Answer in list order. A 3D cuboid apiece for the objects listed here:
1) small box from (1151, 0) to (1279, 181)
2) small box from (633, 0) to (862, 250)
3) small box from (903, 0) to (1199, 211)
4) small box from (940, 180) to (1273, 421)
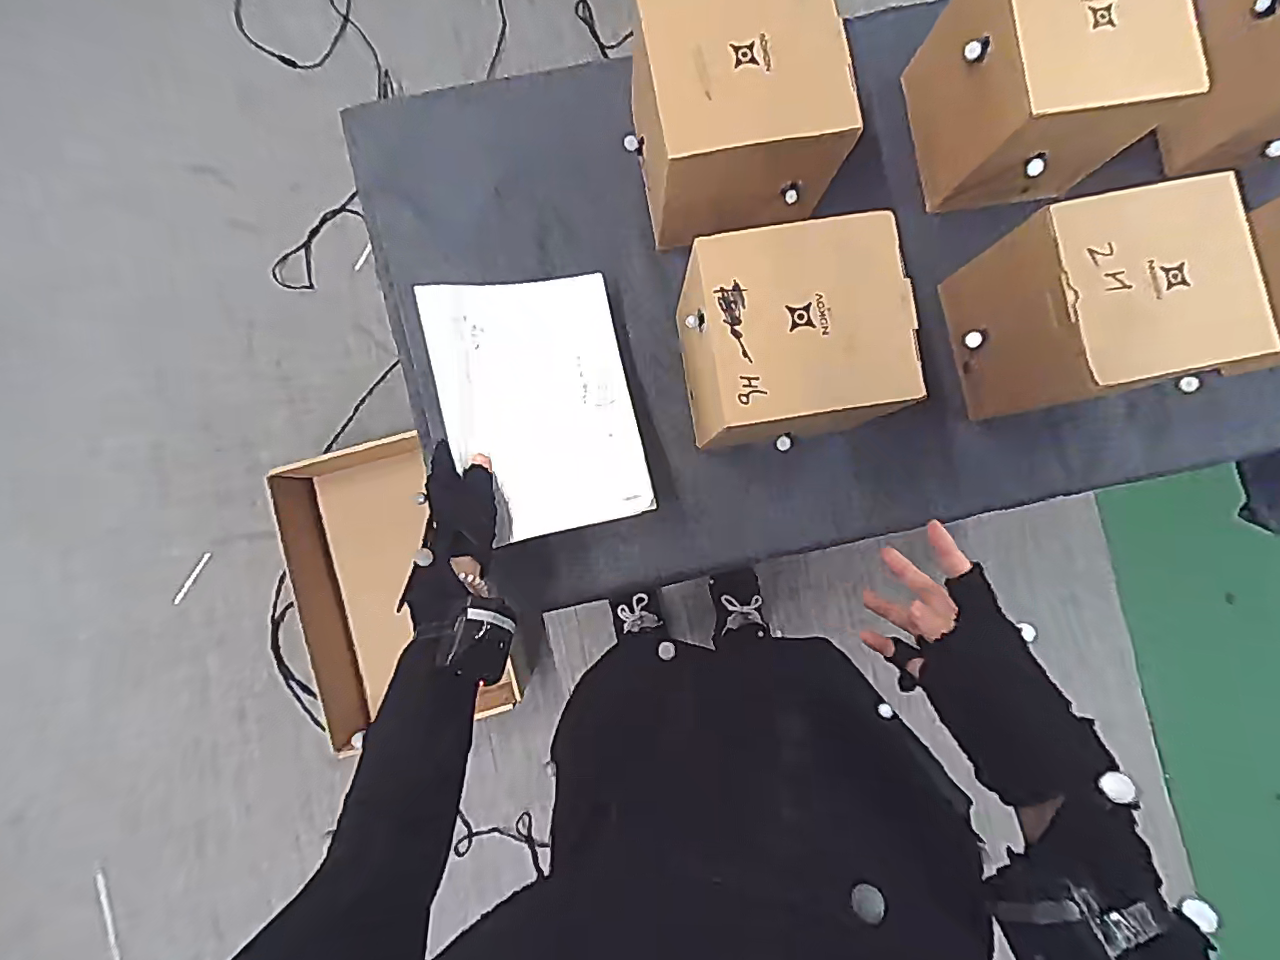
[{"bbox_3d":[0.691,-0.457,0.573,0.168,0.176,0.179,-9,87,-2],"label":"small box"},{"bbox_3d":[0.093,-0.360,0.551,0.179,0.176,0.168,-10,86,-3],"label":"small box"},{"bbox_3d":[0.406,-0.406,0.565,0.168,0.176,0.179,-9,86,-2],"label":"small box"},{"bbox_3d":[0.447,-0.165,0.548,0.179,0.176,0.168,-11,86,-1],"label":"small box"}]
